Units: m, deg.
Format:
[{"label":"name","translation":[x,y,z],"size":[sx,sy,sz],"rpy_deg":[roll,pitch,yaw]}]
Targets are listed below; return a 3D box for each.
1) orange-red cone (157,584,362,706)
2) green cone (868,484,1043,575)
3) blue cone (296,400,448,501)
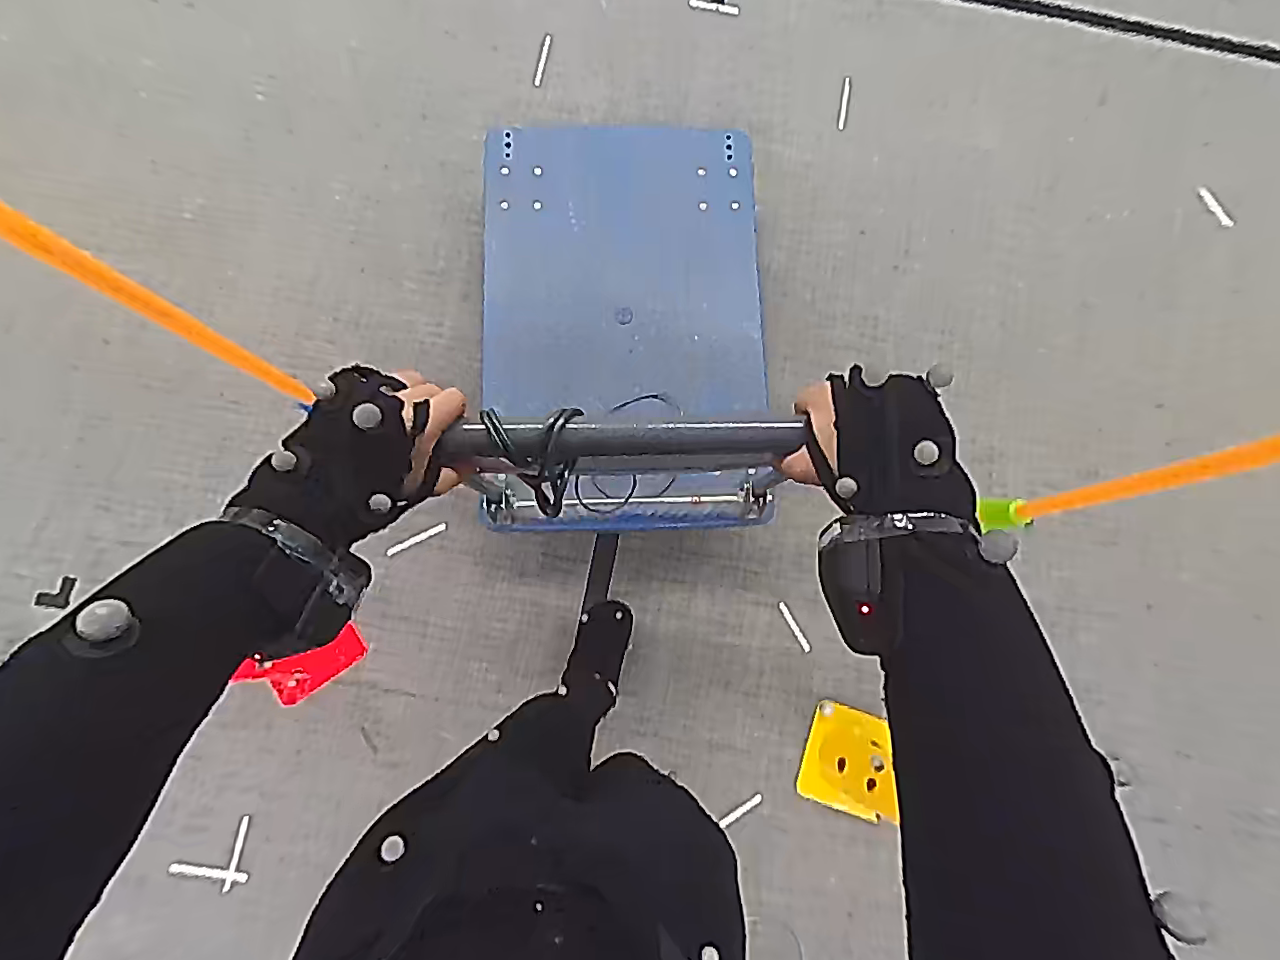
[{"label":"orange-red cone","translation":[-0.699,0.313,0.965],"size":[0.199,0.360,0.198],"rpy_deg":[-33,84,-9]},{"label":"green cone","translation":[0.627,0.085,1.057],"size":[0.200,0.368,0.202],"rpy_deg":[-3,81,-3]},{"label":"blue cone","translation":[-0.542,-0.092,1.058],"size":[0.193,0.380,0.192],"rpy_deg":[26,81,2]}]
